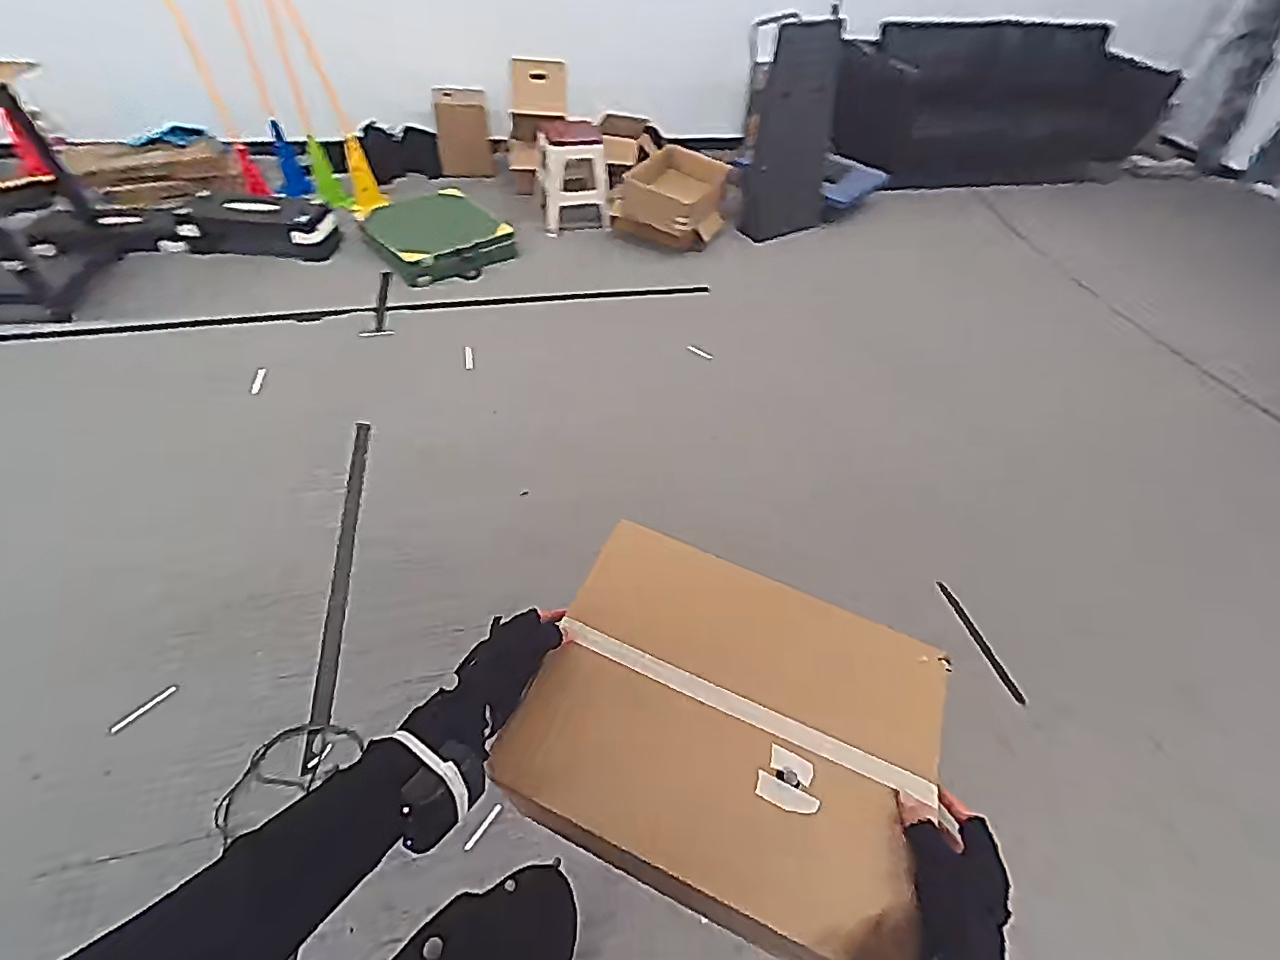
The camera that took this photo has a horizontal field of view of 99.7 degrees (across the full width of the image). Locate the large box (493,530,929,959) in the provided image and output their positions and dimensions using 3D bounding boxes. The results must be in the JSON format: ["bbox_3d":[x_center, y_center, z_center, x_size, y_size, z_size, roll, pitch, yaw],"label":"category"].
[{"bbox_3d":[0.081,0.327,0.689,0.408,0.320,0.320,22,55,10],"label":"large box"}]
